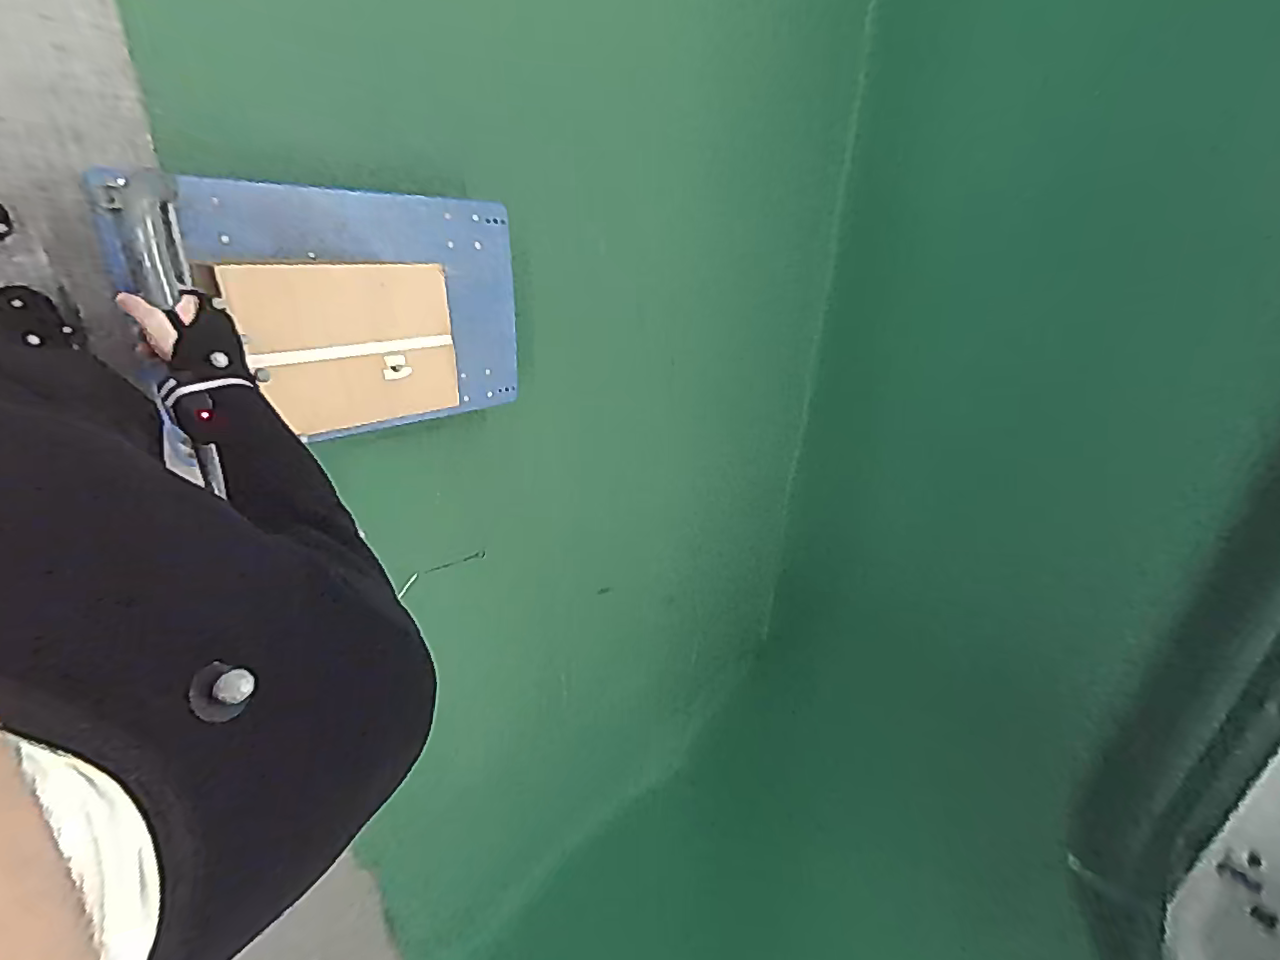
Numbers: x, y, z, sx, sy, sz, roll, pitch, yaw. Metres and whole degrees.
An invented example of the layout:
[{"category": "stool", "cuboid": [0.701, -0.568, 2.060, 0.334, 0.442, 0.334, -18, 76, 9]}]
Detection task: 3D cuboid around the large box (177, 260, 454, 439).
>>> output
[{"category": "large box", "cuboid": [-0.681, -0.310, 1.173, 0.408, 0.320, 0.320, -22, 123, -42]}]
